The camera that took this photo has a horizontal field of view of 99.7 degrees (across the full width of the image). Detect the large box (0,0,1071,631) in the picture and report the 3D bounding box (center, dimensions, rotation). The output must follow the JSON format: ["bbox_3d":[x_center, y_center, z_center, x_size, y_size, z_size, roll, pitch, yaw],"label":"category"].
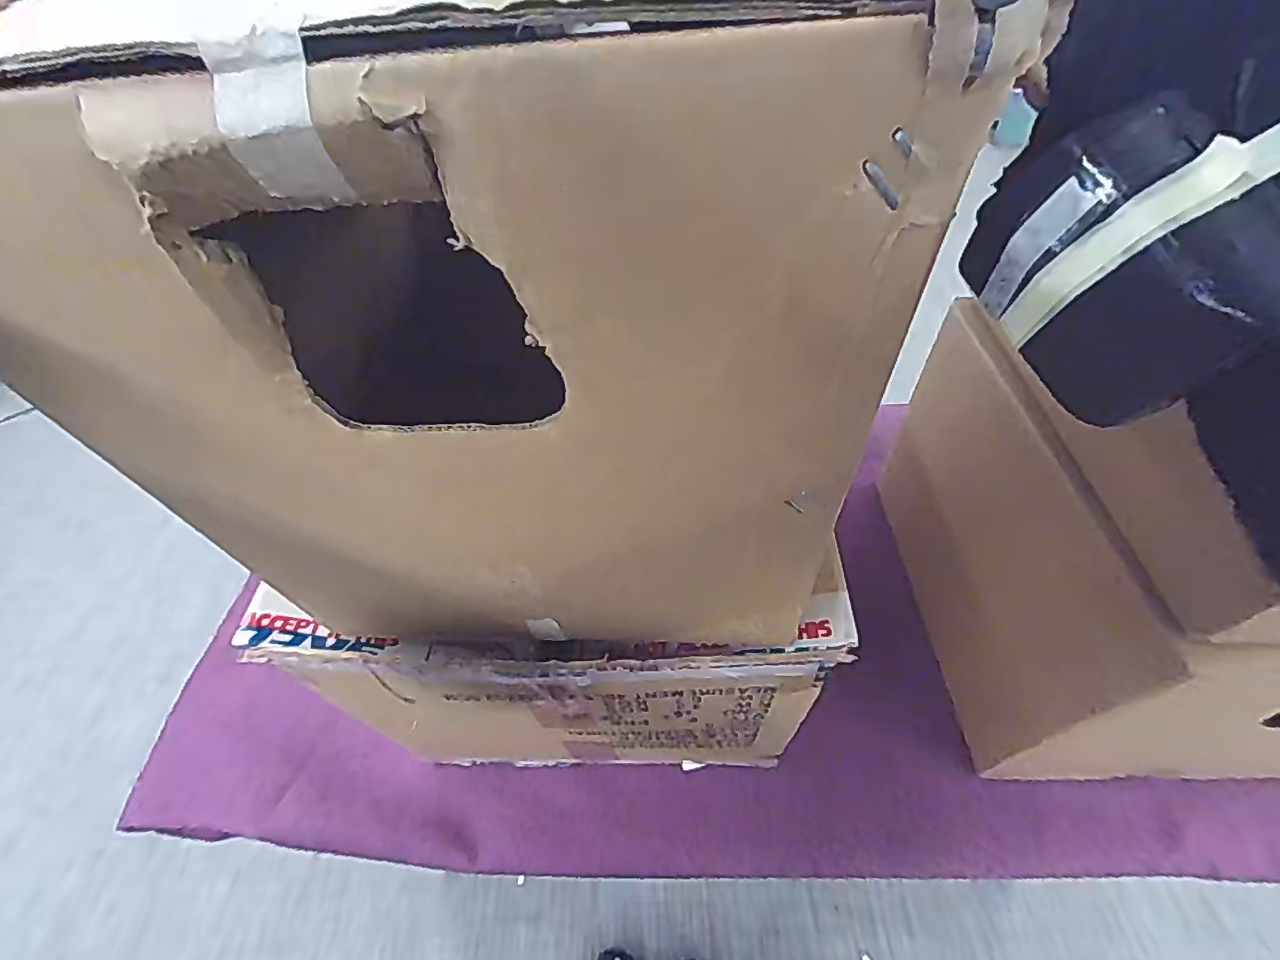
[{"bbox_3d":[-0.048,-0.149,0.358,0.320,0.320,0.408,-2,52,6],"label":"large box"}]
